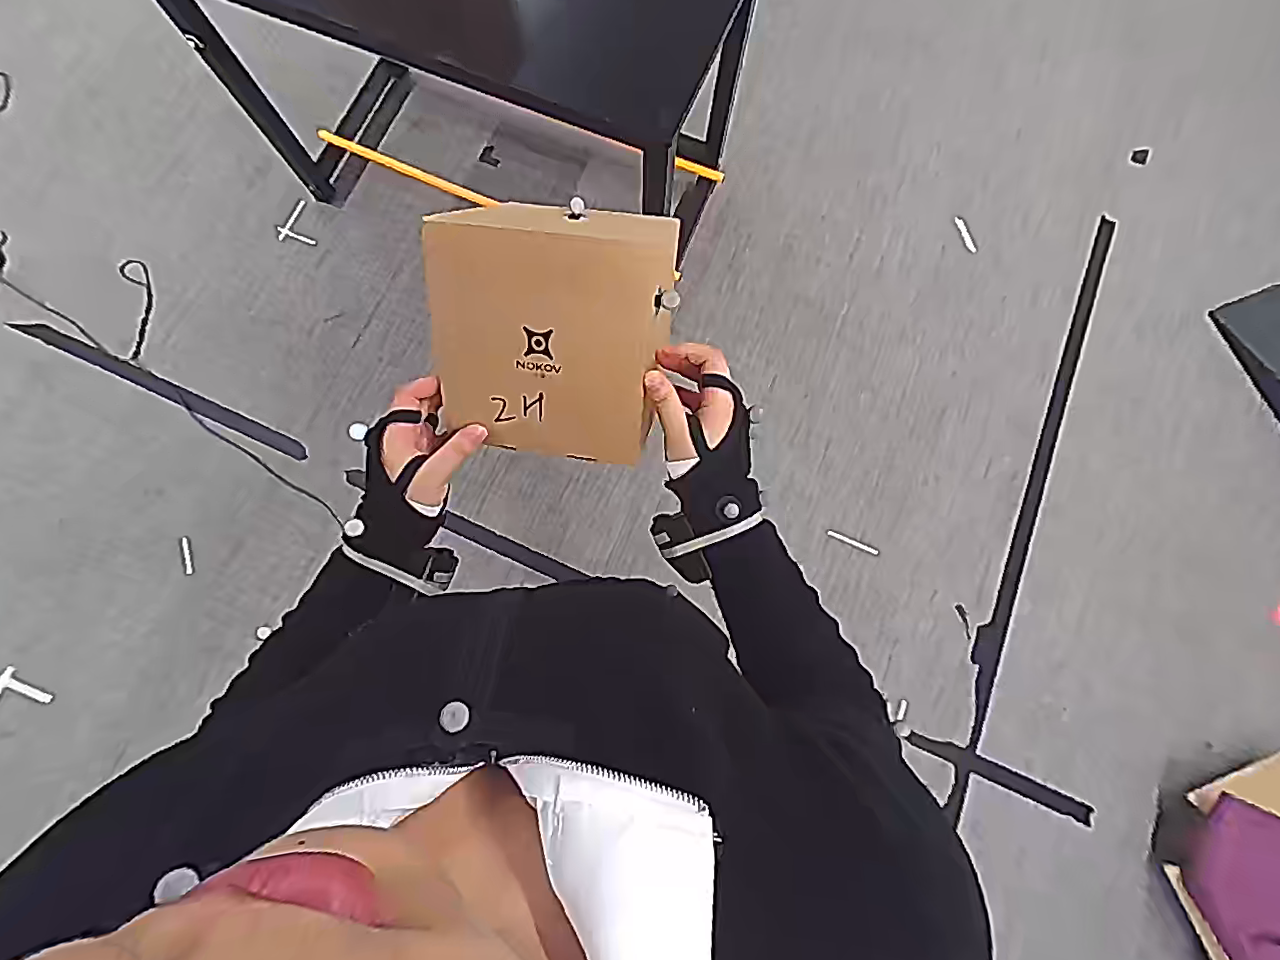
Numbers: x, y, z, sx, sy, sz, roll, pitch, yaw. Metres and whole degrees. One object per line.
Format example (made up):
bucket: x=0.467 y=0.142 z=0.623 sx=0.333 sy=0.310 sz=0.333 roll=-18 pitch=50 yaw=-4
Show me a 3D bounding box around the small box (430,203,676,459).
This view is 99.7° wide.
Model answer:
small box: x=-0.061 y=-0.141 z=0.479 sx=0.168 sy=0.176 sz=0.179 roll=8 pitch=121 yaw=6
